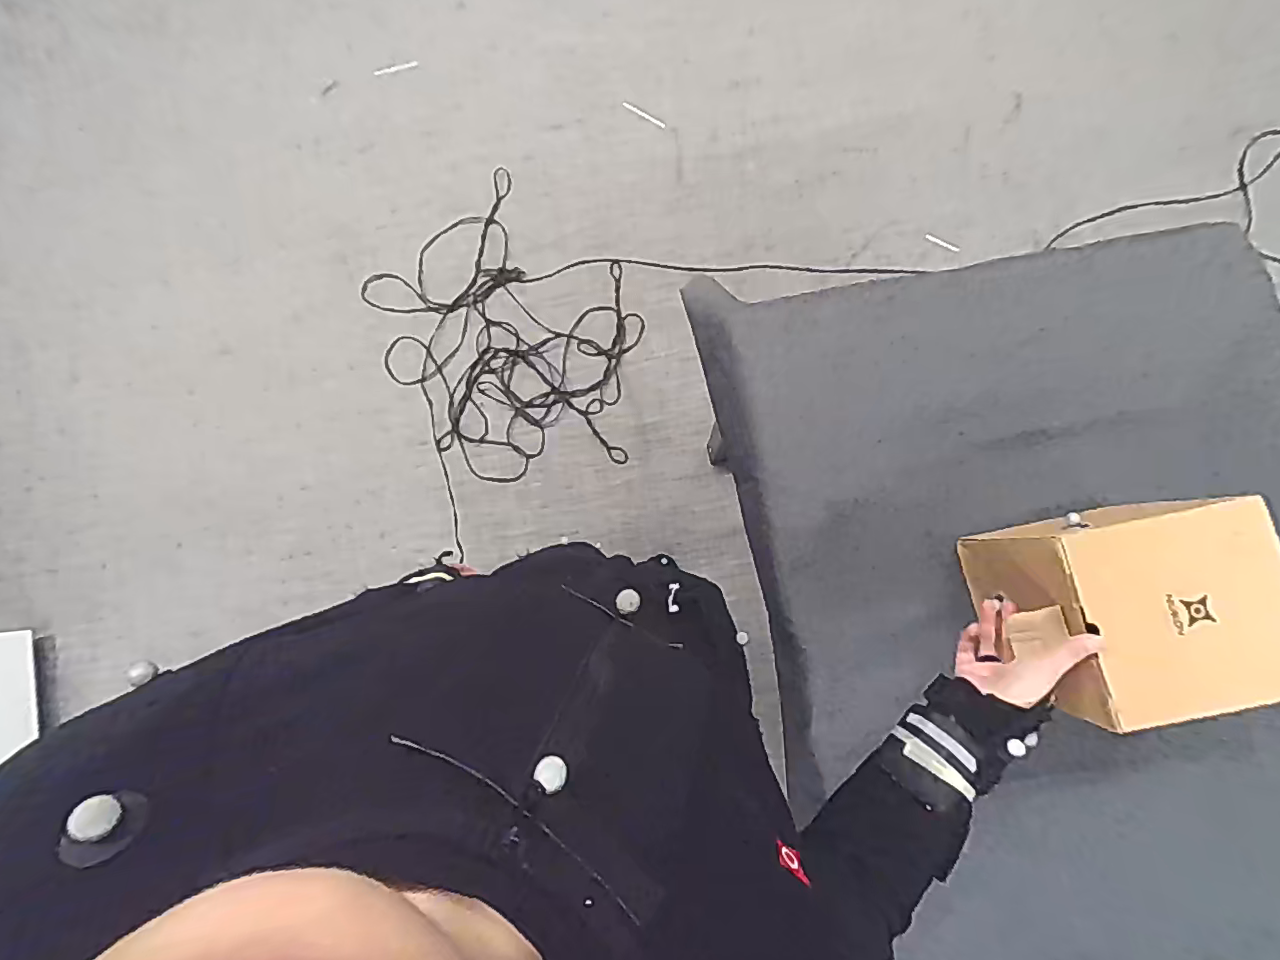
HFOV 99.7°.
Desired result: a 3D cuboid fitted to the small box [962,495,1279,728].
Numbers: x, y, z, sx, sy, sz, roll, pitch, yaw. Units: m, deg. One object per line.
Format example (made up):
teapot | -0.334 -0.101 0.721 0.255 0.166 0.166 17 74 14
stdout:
small box | 0.465 0.116 0.532 0.179 0.176 0.168 -14 83 2
